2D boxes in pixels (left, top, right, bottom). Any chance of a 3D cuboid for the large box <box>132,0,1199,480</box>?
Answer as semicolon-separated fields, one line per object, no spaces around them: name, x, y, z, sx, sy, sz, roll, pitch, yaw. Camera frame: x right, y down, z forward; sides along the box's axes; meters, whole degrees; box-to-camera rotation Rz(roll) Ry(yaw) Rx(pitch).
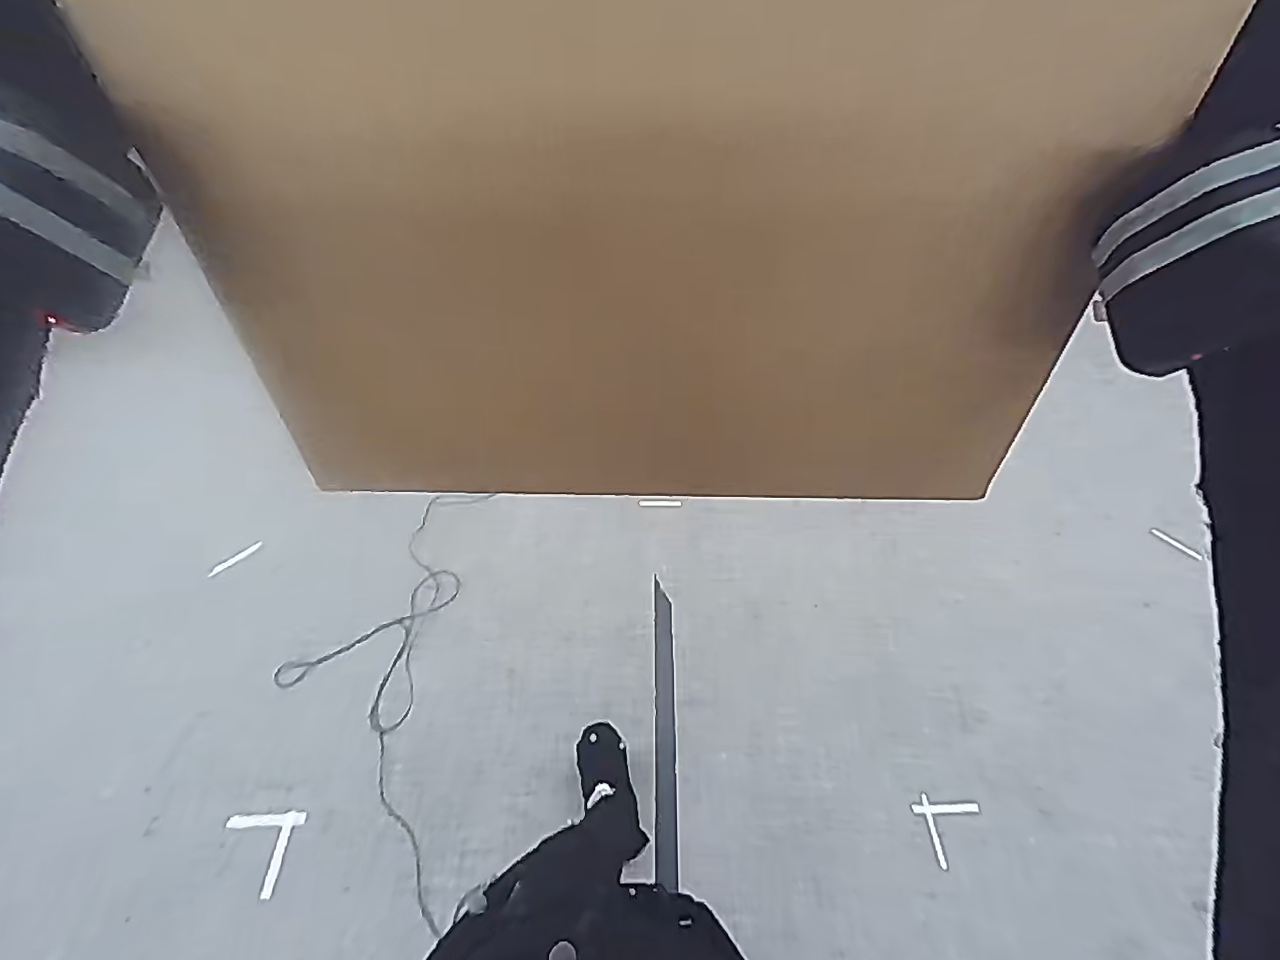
large box;0.008;-0.210;0.360;0.408;0.320;0.320;1;41;1
